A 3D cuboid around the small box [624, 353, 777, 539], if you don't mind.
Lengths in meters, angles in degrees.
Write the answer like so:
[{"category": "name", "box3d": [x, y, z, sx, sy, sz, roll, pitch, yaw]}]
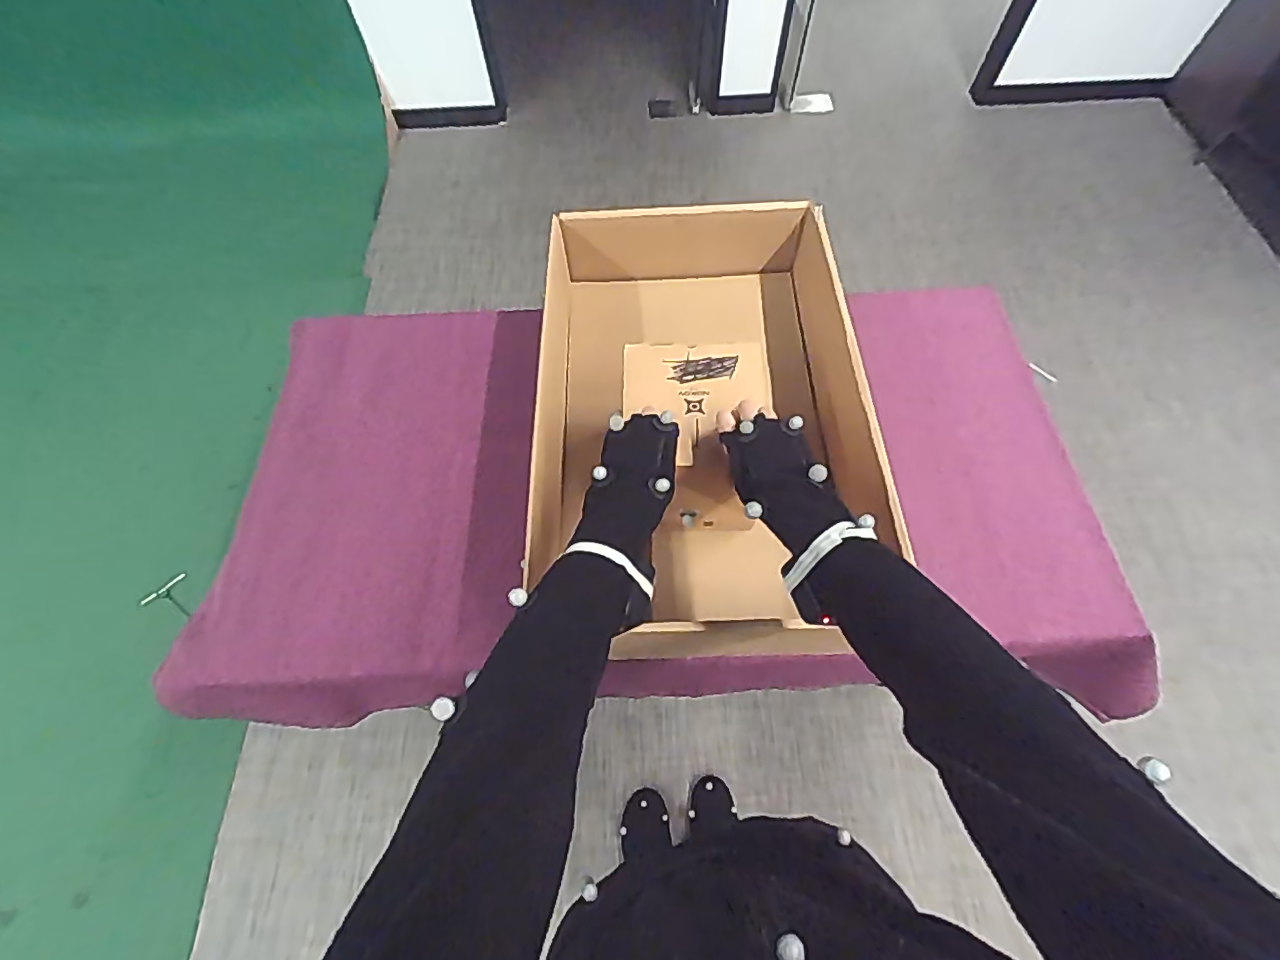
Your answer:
[{"category": "small box", "box3d": [0.066, -0.039, 0.682, 0.168, 0.176, 0.179, -1, 61, 1]}]
